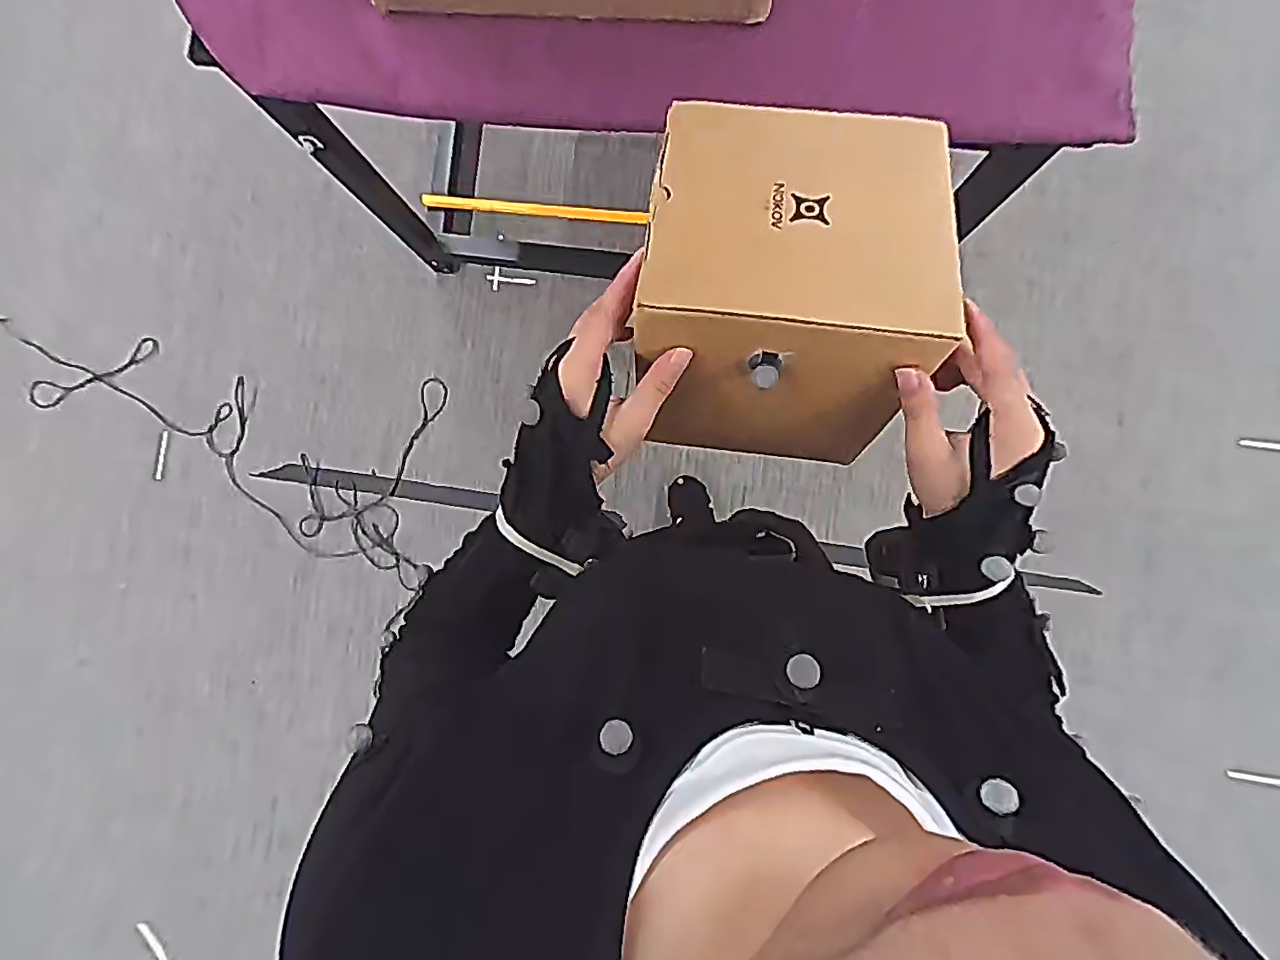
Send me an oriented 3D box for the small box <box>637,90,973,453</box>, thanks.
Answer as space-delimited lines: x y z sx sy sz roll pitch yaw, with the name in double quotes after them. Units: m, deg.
0.096 -0.130 0.381 0.179 0.176 0.168 7 68 4 "small box"
